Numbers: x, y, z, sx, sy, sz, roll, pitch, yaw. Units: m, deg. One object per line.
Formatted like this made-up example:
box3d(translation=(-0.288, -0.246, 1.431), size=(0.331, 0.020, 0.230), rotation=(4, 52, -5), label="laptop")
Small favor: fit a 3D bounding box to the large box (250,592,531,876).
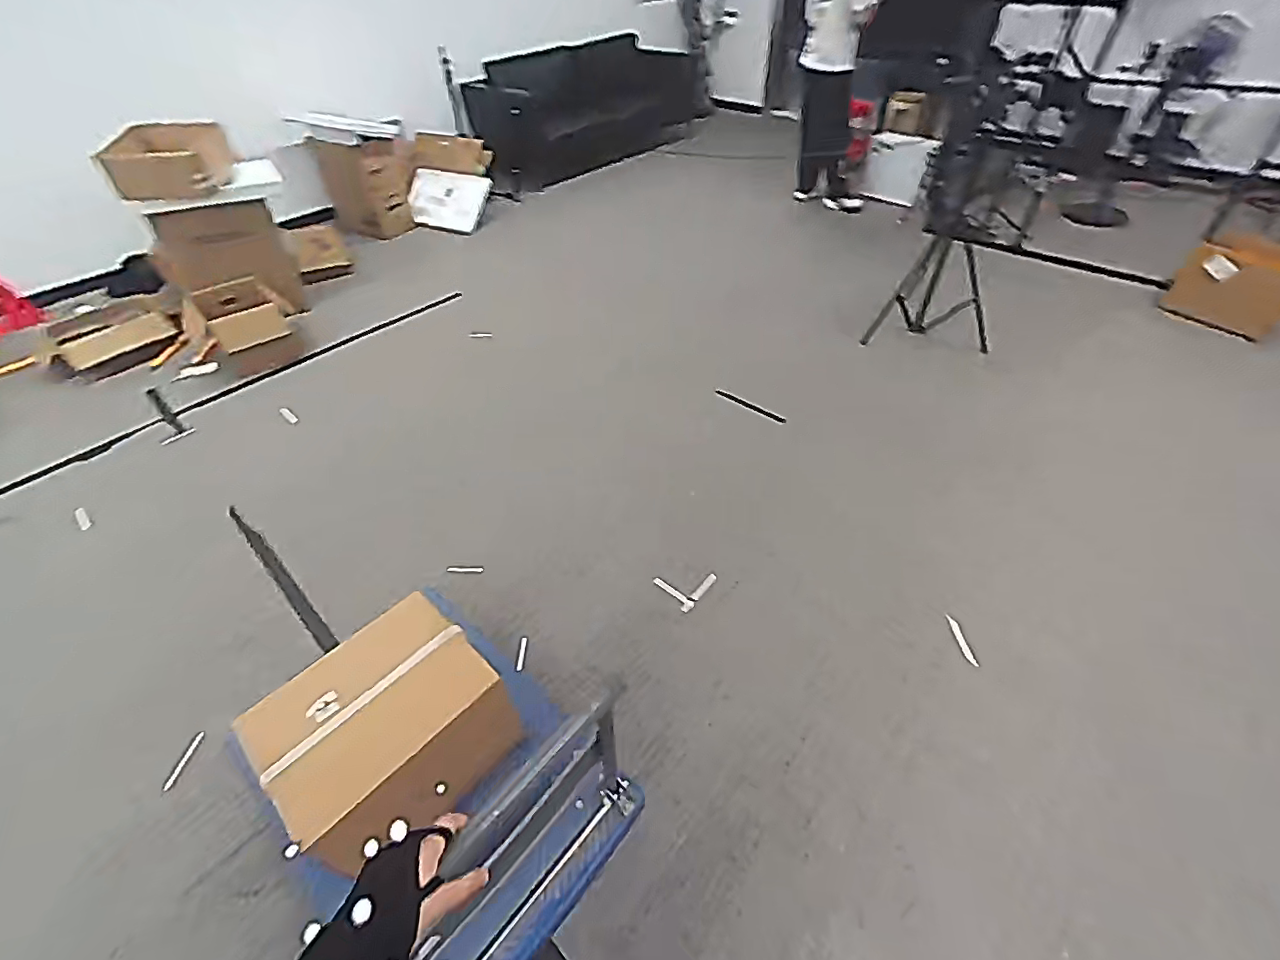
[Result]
box3d(translation=(-0.504, 0.535, 1.171), size=(0.320, 0.320, 0.408), rotation=(32, 55, 30), label="large box")
